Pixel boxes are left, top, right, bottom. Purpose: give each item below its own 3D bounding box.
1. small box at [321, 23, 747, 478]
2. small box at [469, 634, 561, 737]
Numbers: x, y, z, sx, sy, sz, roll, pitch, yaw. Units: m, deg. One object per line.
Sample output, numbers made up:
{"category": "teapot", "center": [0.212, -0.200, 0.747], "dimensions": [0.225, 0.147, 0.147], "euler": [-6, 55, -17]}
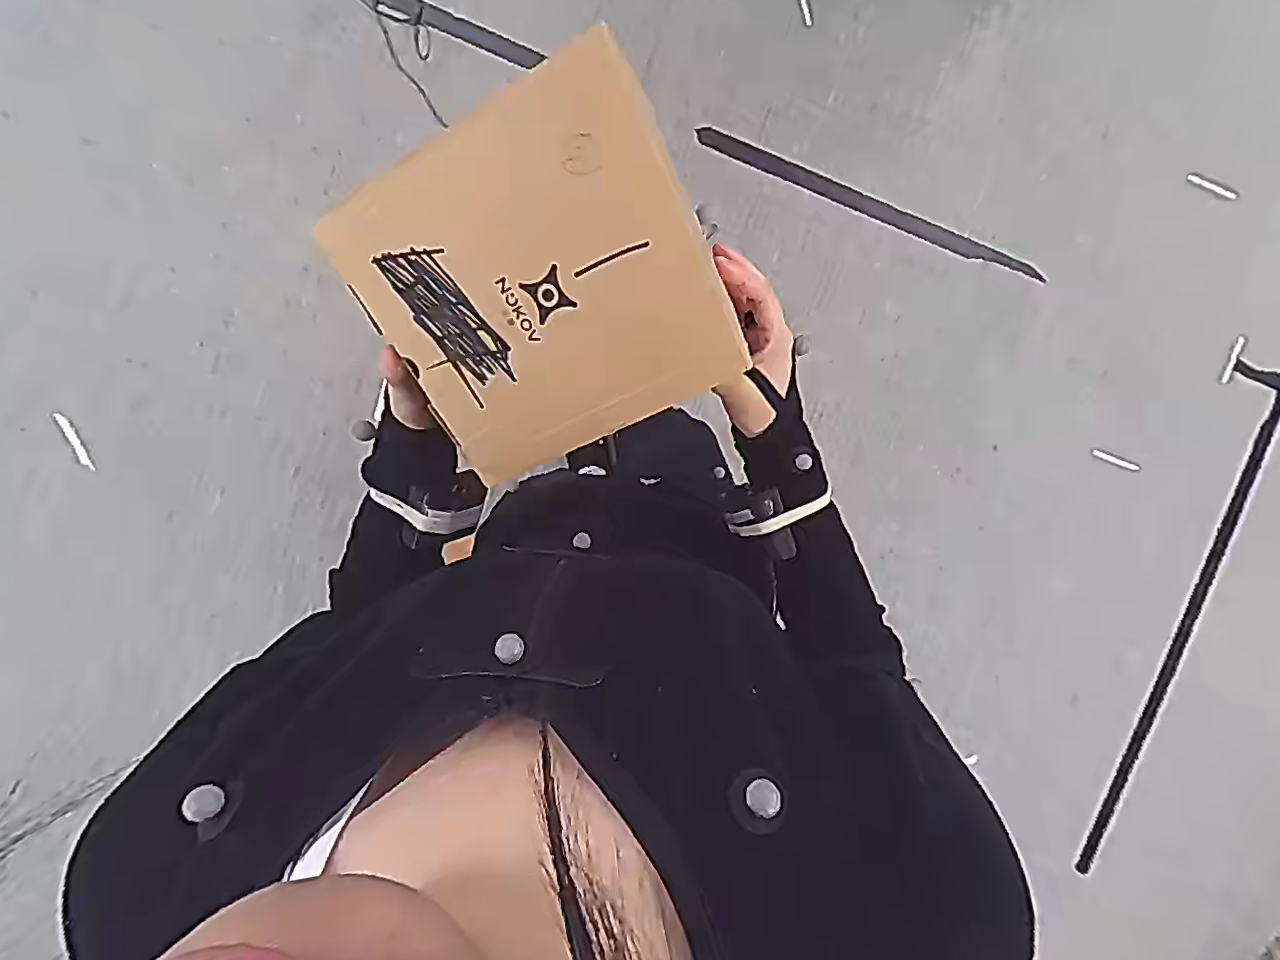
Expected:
{"category": "small box", "center": [-0.044, -0.132, 0.350], "dimensions": [0.179, 0.176, 0.168], "euler": [-22, 113, 17]}
{"category": "small box", "center": [-0.318, 0.529, 1.418], "dimensions": [0.179, 0.176, 0.168], "euler": [27, 92, -8]}
